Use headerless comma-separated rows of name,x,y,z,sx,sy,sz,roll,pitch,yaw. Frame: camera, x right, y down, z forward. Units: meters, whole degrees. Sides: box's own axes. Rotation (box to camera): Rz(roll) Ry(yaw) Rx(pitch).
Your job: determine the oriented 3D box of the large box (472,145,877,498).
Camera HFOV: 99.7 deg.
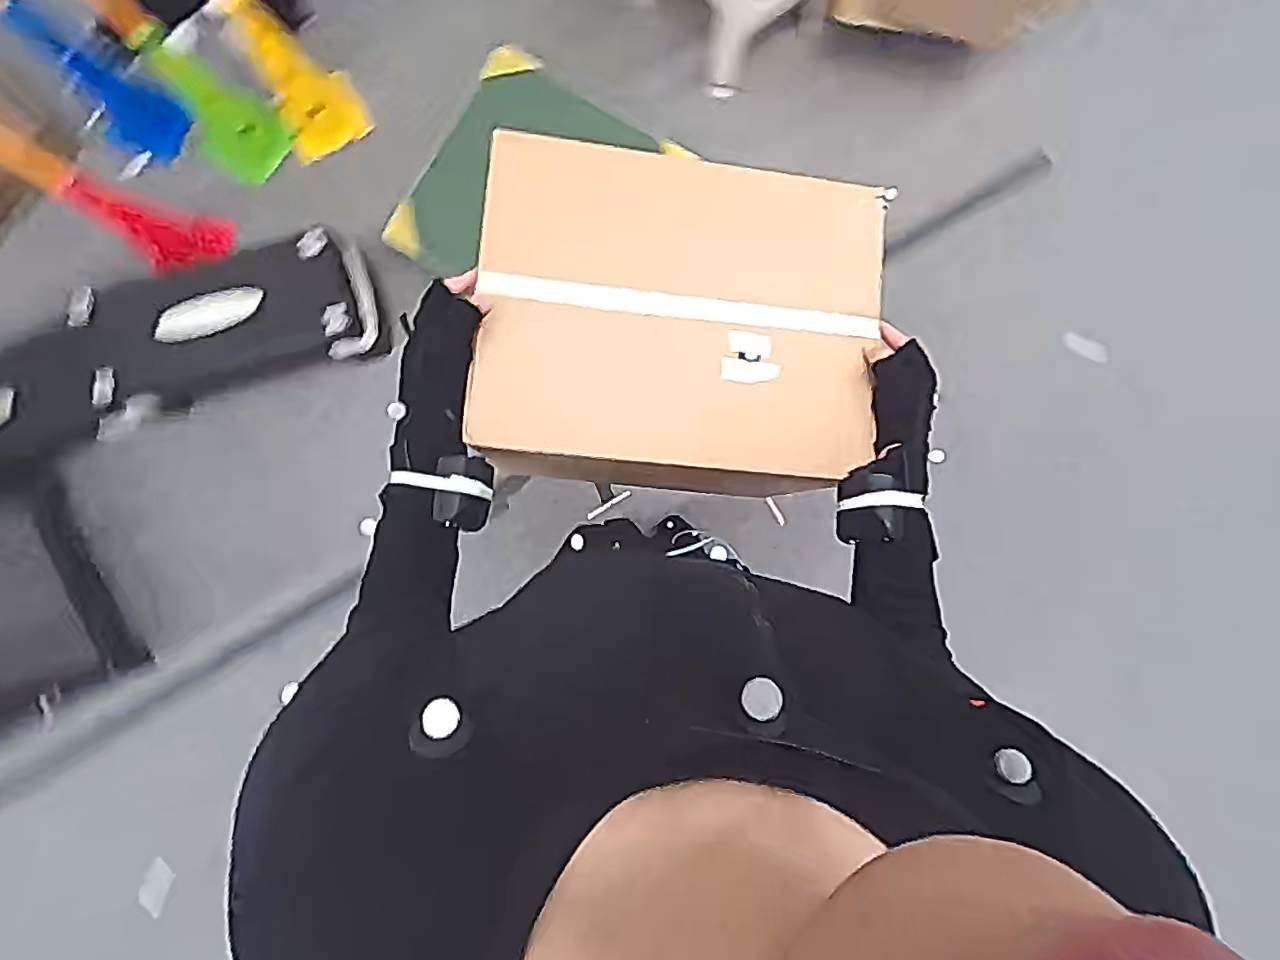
large box,0.028,-0.155,0.698,0.408,0.320,0.320,7,86,-7
